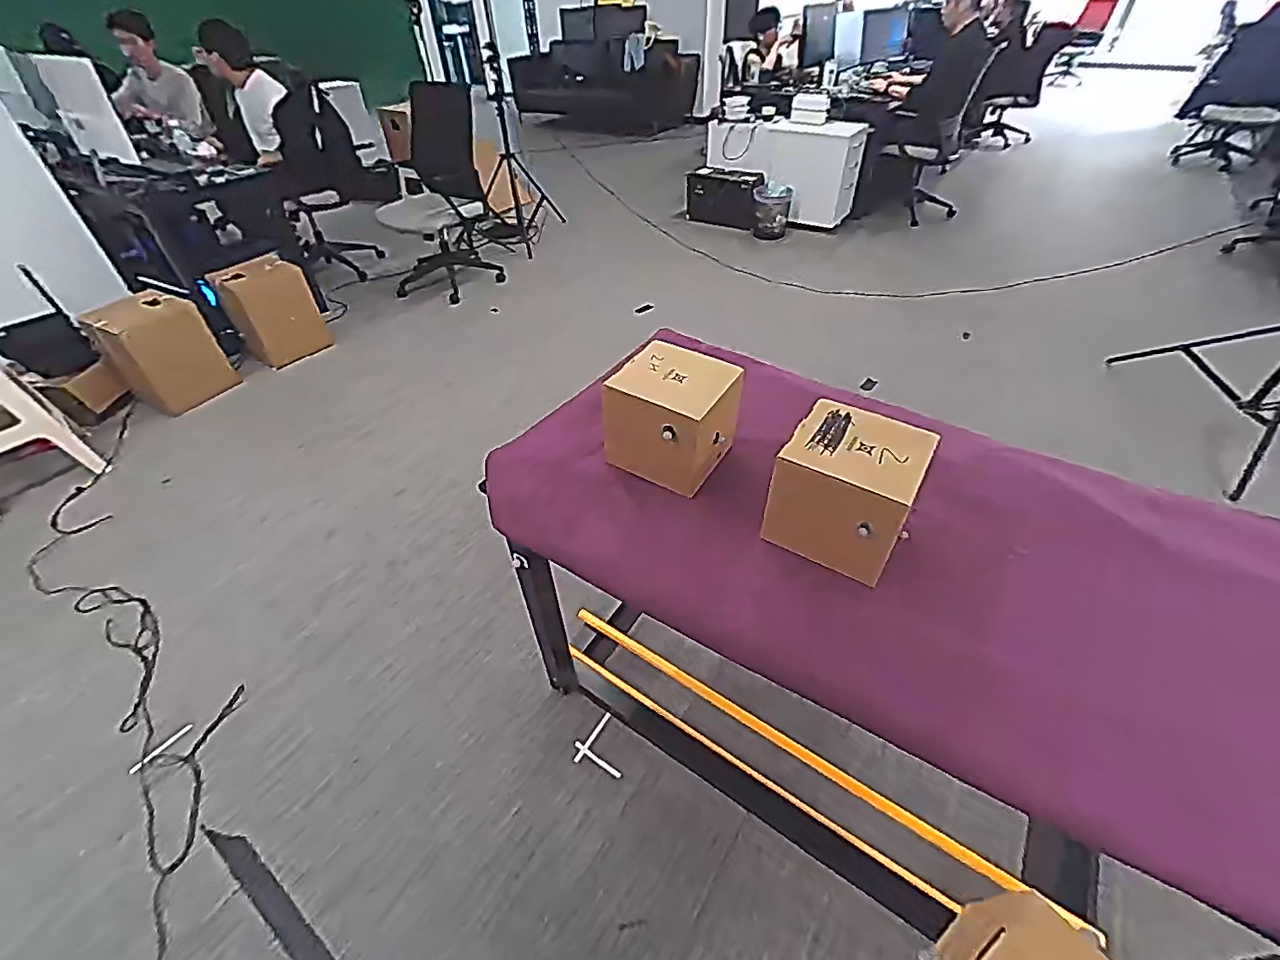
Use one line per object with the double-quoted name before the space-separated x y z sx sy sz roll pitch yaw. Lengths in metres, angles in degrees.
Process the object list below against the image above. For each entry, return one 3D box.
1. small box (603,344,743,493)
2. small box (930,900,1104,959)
"small box" 0.055 -0.103 0.931 0.179 0.176 0.168 24 48 22
"small box" 0.258 0.408 0.334 0.168 0.176 0.179 -36 49 -15
